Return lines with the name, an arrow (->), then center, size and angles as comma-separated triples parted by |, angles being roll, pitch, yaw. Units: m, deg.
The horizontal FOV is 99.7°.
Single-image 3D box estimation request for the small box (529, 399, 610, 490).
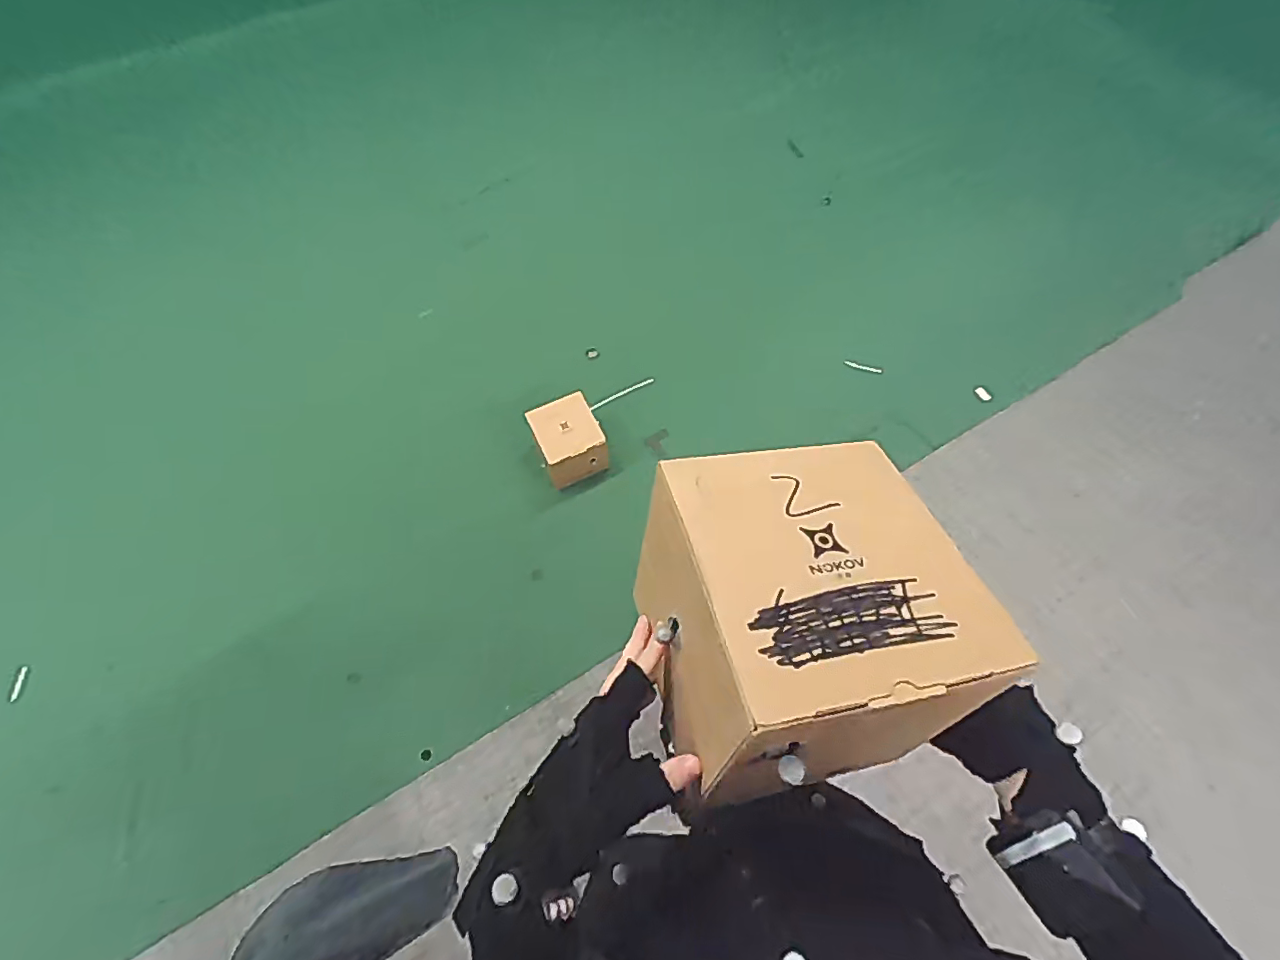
small box -> -0.192, -0.089, 1.514 | 0.168, 0.176, 0.179 | -24, 68, -11
